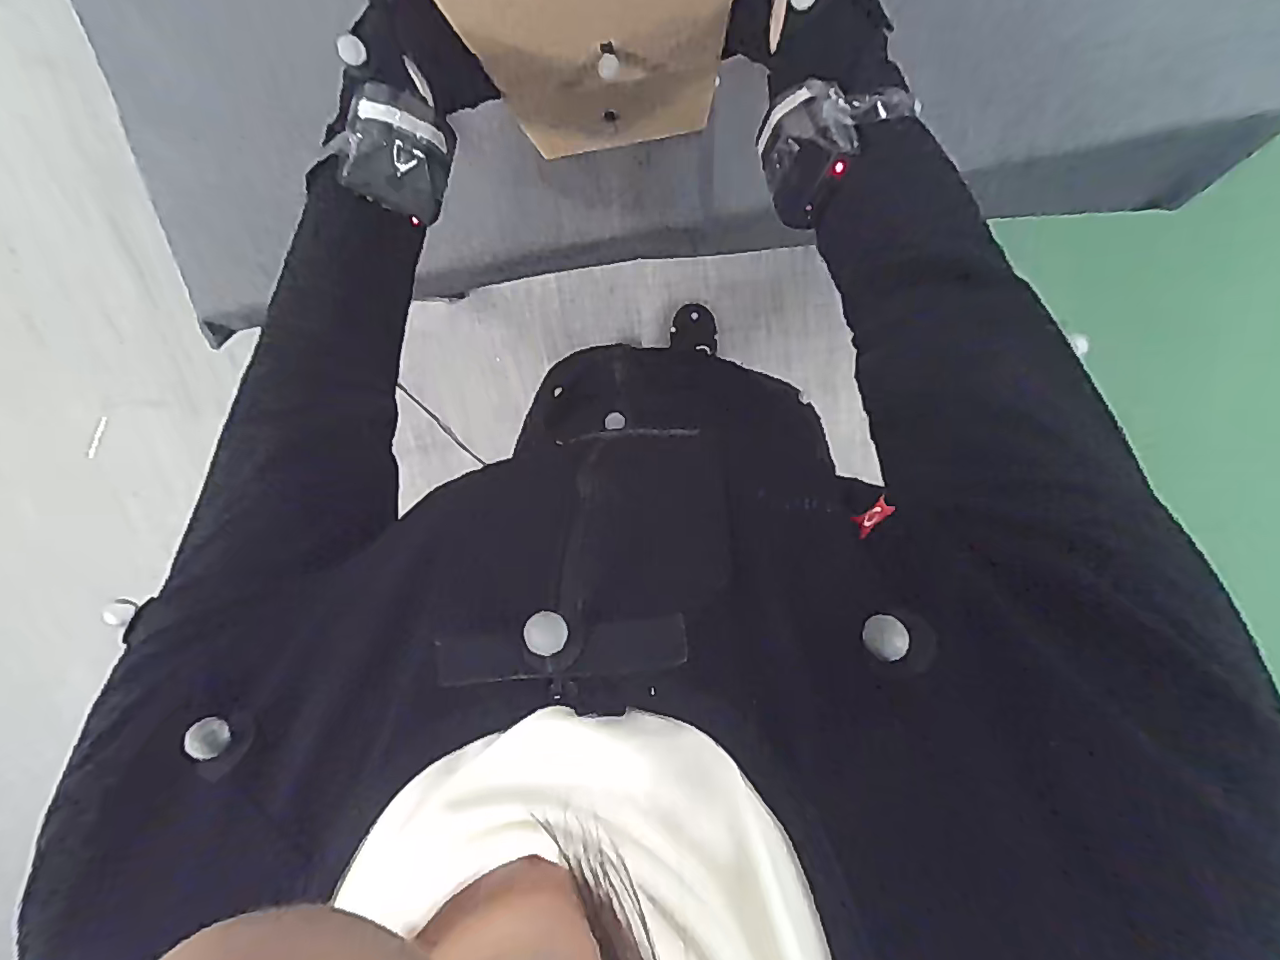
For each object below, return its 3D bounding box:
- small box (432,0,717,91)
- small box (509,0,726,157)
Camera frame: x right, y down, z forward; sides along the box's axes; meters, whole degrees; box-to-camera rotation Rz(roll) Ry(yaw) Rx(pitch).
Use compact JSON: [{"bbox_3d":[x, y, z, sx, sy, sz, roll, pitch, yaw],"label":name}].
[{"bbox_3d":[-0.042,-0.368,0.320,0.179,0.176,0.168,-8,104,4],"label":"small box"},{"bbox_3d":[-0.033,-0.413,0.479,0.179,0.176,0.168,-11,107,5],"label":"small box"}]
